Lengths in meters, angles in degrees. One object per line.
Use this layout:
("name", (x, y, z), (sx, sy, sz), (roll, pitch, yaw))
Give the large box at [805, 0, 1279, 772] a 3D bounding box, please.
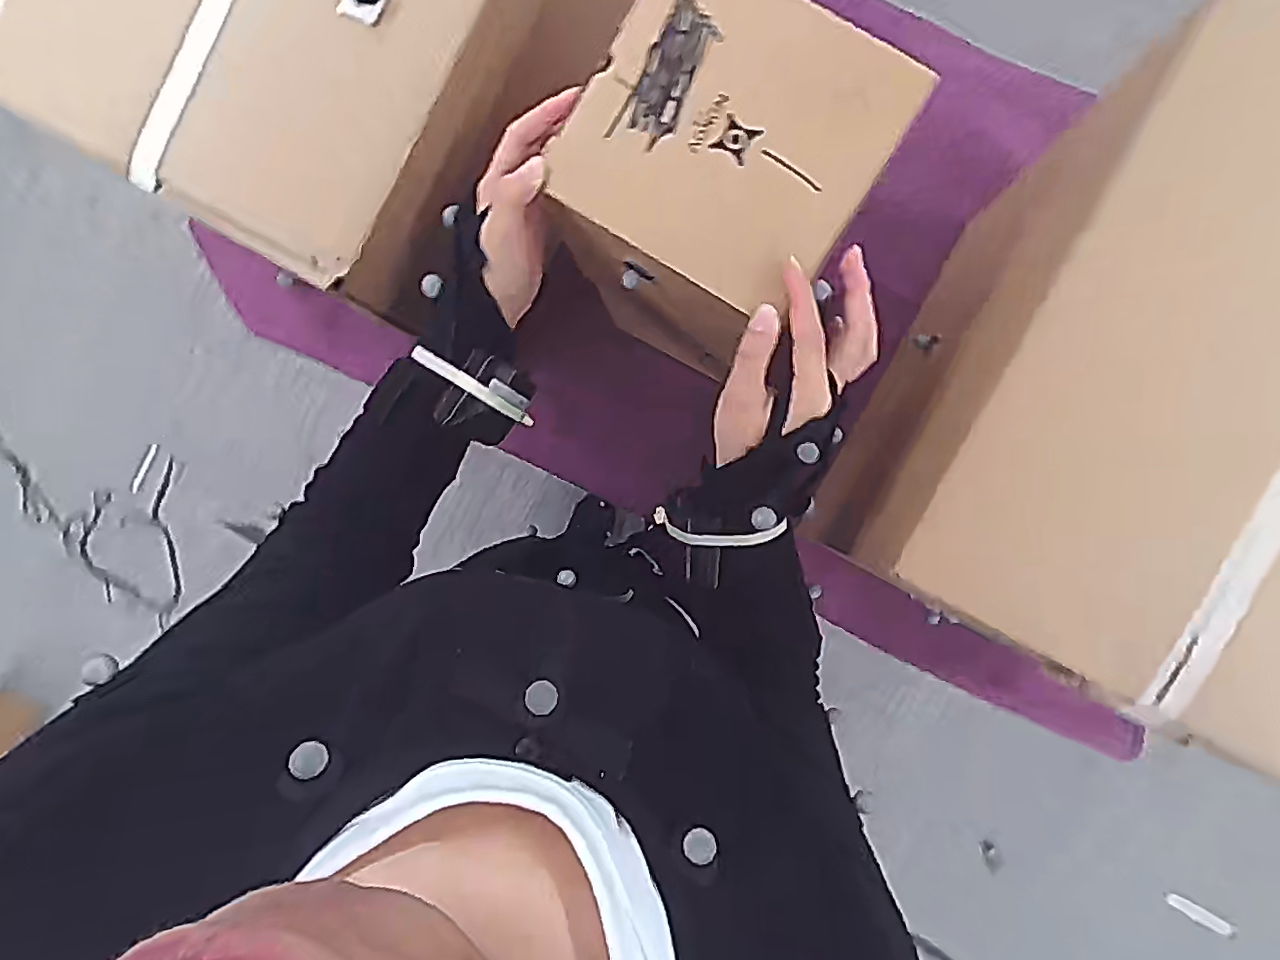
("large box", (0.390, -0.047, 0.449), (0.320, 0.320, 0.408), (28, 91, 4))
